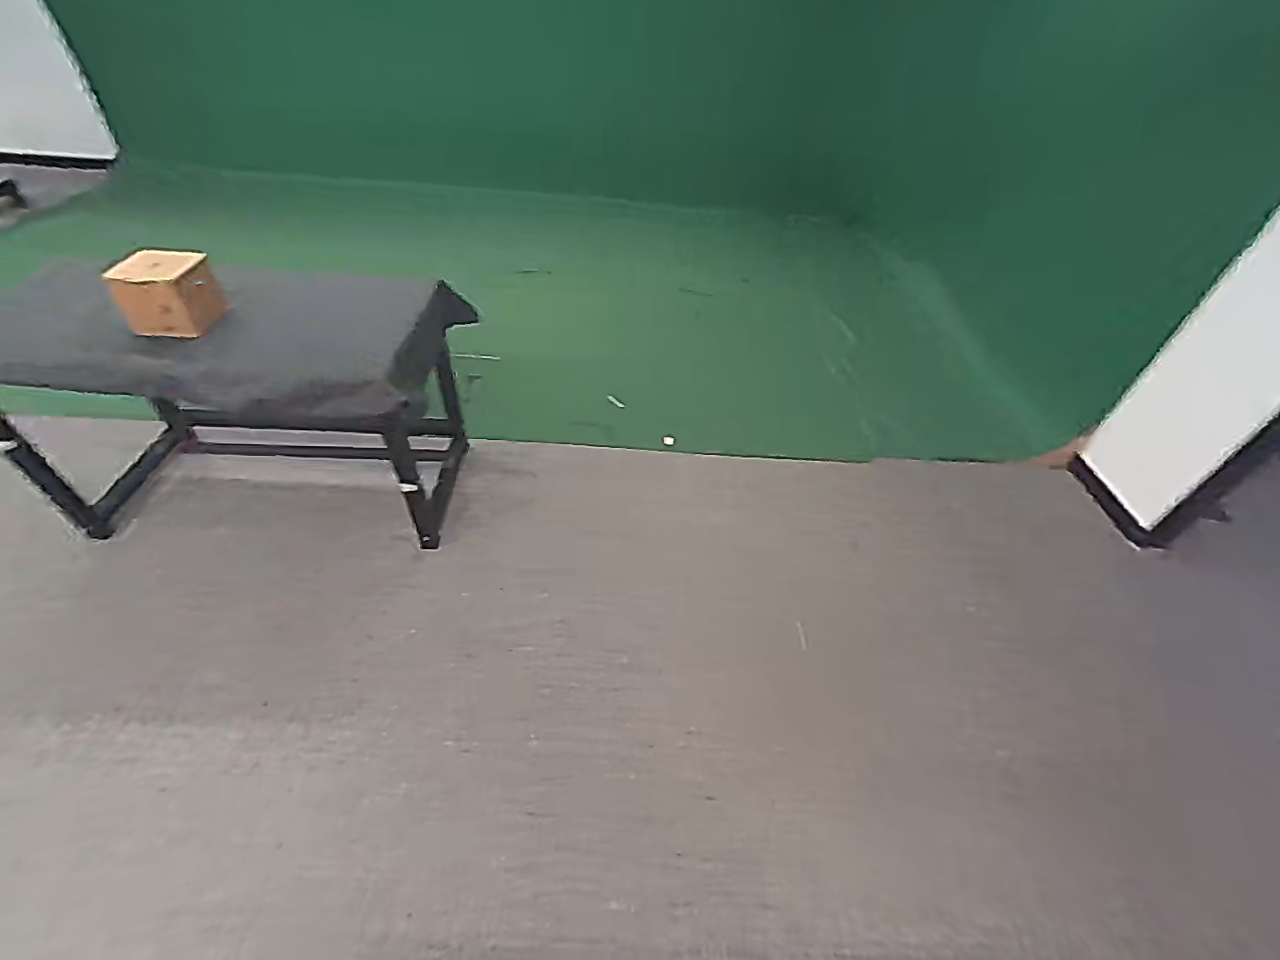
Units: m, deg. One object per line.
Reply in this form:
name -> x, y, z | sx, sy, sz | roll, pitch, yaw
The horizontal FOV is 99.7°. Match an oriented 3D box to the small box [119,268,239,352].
small box -> -1.274, -0.475, 1.514 | 0.168, 0.176, 0.179 | 3, 42, -4
